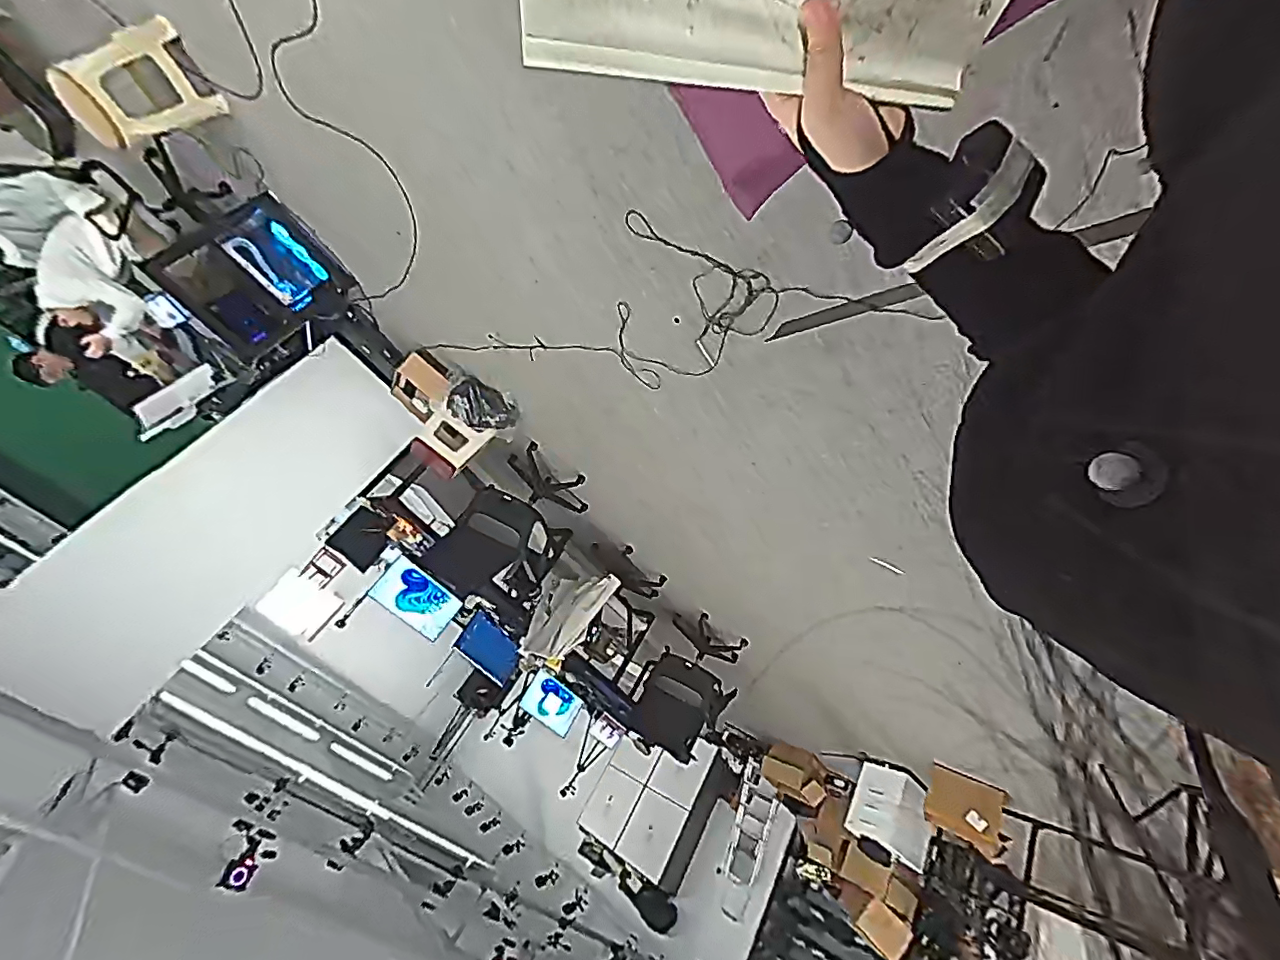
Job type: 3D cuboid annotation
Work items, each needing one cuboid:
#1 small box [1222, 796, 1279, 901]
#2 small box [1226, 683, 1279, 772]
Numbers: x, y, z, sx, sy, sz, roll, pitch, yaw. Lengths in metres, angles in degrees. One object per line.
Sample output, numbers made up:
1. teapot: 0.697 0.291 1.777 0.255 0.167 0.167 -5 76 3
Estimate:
1. small box: 1.575 0.928 1.341 0.168 0.176 0.179 -6 133 50
2. small box: 1.744 0.685 1.485 0.179 0.176 0.168 47 150 -24
